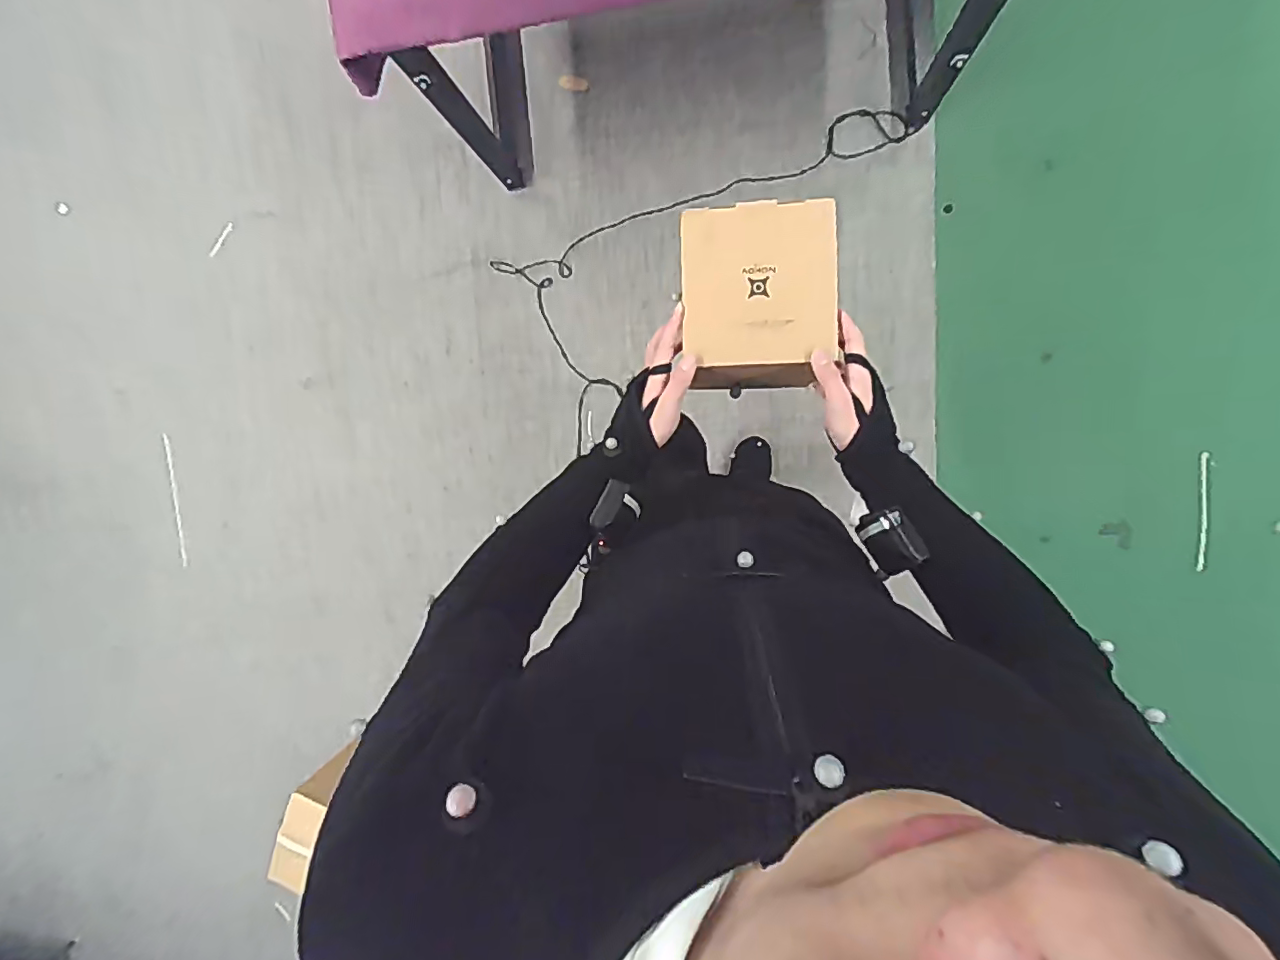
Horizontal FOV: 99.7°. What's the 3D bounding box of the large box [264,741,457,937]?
[{"bbox_3d":[-0.868,1.110,1.717,0.408,0.320,0.320,21,98,5],"label":"large box"}]
